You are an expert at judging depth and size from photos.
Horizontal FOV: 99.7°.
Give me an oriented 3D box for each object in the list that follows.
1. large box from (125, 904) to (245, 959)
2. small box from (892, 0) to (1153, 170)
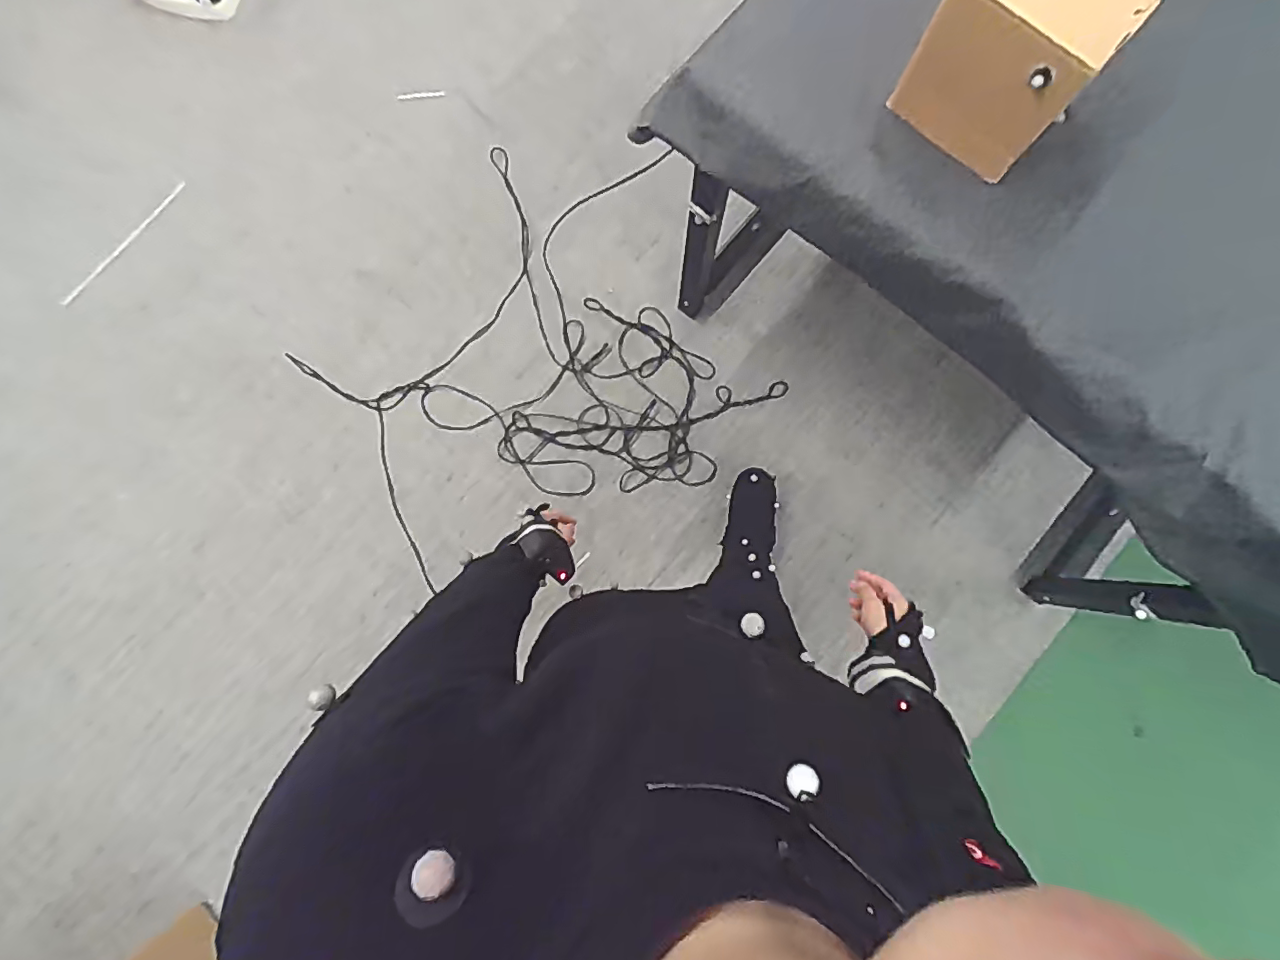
[{"bbox_3d":[-1.010,1.218,1.095,0.320,0.320,0.408,-42,82,-5],"label":"large box"},{"bbox_3d":[0.431,-0.505,0.618,0.179,0.176,0.168,40,85,5],"label":"small box"}]
